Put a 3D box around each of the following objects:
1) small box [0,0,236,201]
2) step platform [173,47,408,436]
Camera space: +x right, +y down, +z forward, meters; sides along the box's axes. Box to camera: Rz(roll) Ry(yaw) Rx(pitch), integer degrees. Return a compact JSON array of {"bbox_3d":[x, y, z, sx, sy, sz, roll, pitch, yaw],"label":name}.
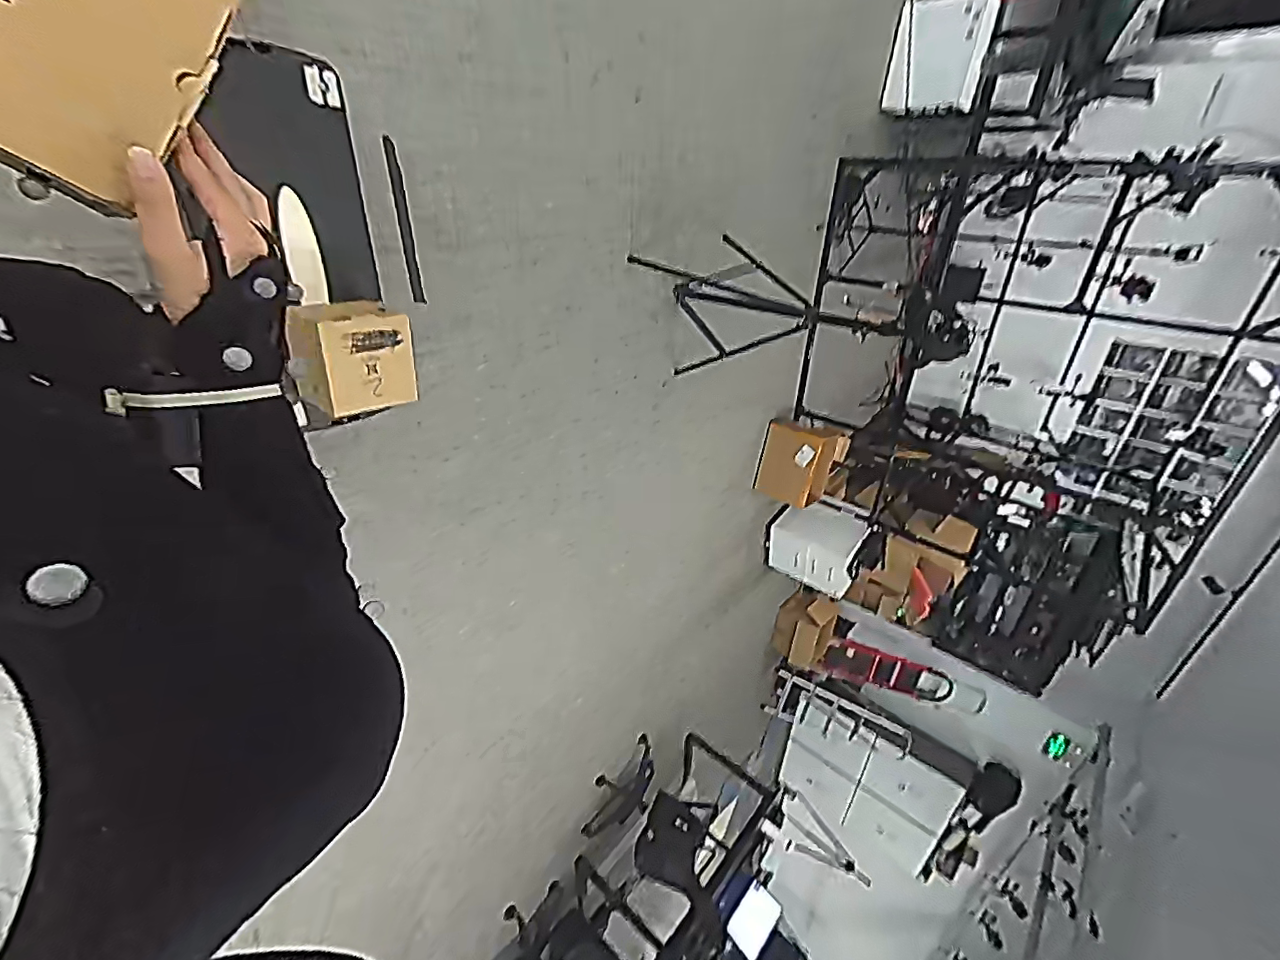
[{"bbox_3d":[-0.362,-0.277,0.293,0.179,0.176,0.168,26,89,-53],"label":"small box"},{"bbox_3d":[-0.687,-0.433,1.085,0.286,0.204,0.684,-29,131,-43],"label":"step platform"}]
